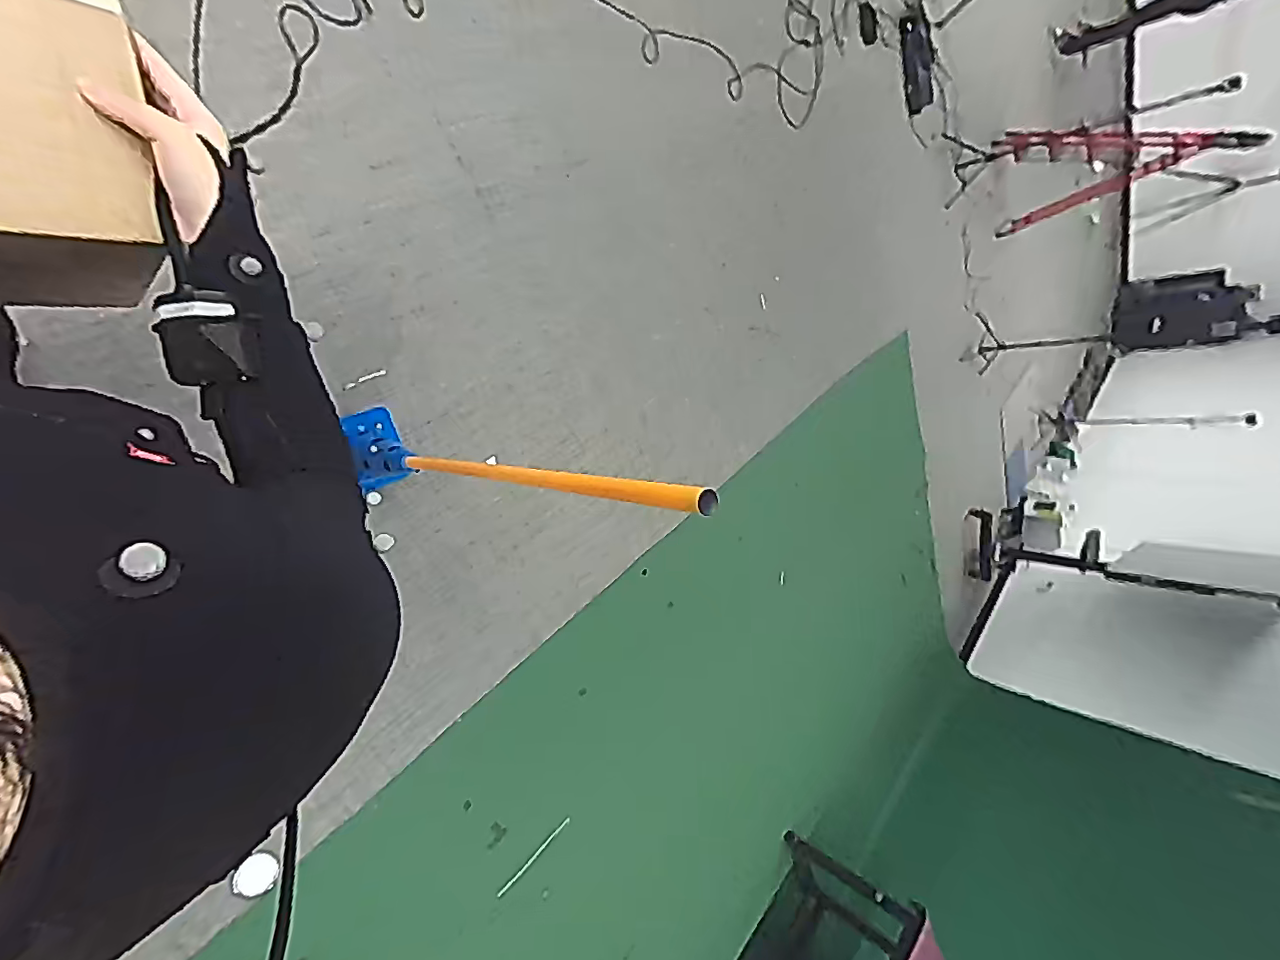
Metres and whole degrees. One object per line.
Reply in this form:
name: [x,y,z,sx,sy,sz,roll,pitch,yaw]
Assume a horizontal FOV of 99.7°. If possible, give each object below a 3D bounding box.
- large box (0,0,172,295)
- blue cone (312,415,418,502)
large box: [-0.603,-0.303,0.330,0.408,0.320,0.320,-16,106,-46]
blue cone: [-0.612,-0.045,1.274,0.193,0.380,0.192,-28,114,-37]
